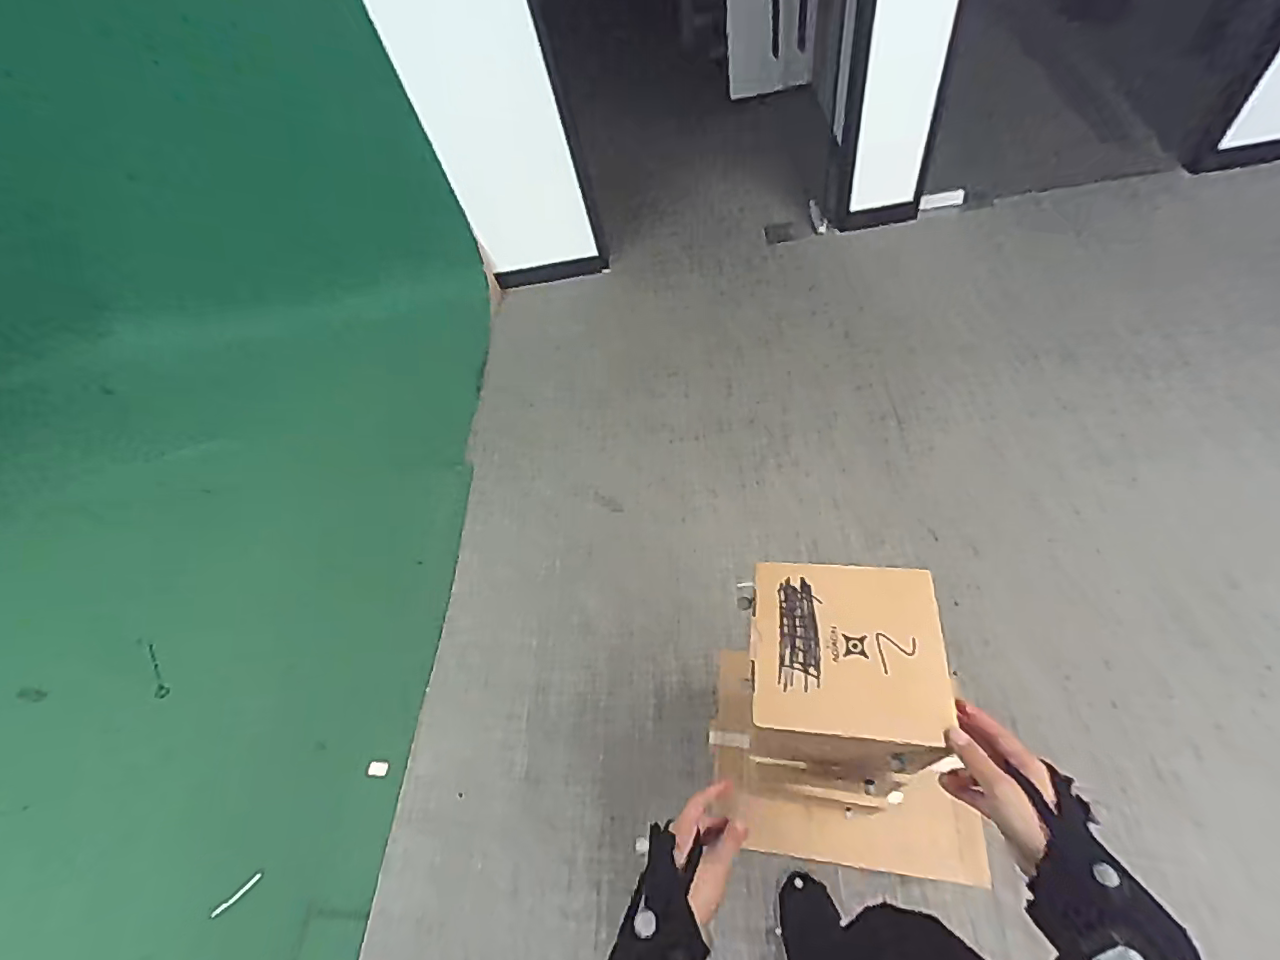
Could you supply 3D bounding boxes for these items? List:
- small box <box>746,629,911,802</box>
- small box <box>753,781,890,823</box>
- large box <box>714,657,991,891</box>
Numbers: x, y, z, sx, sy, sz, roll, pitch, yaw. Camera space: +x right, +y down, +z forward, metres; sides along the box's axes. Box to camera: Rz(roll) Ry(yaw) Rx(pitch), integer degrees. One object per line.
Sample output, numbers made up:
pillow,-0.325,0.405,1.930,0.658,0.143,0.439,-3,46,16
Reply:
small box,0.232,0.308,0.702,0.179,0.176,0.168,1,55,12
small box,0.265,0.412,0.823,0.179,0.176,0.168,1,55,14
large box,0.350,0.544,1.013,0.408,0.320,0.320,1,57,12
